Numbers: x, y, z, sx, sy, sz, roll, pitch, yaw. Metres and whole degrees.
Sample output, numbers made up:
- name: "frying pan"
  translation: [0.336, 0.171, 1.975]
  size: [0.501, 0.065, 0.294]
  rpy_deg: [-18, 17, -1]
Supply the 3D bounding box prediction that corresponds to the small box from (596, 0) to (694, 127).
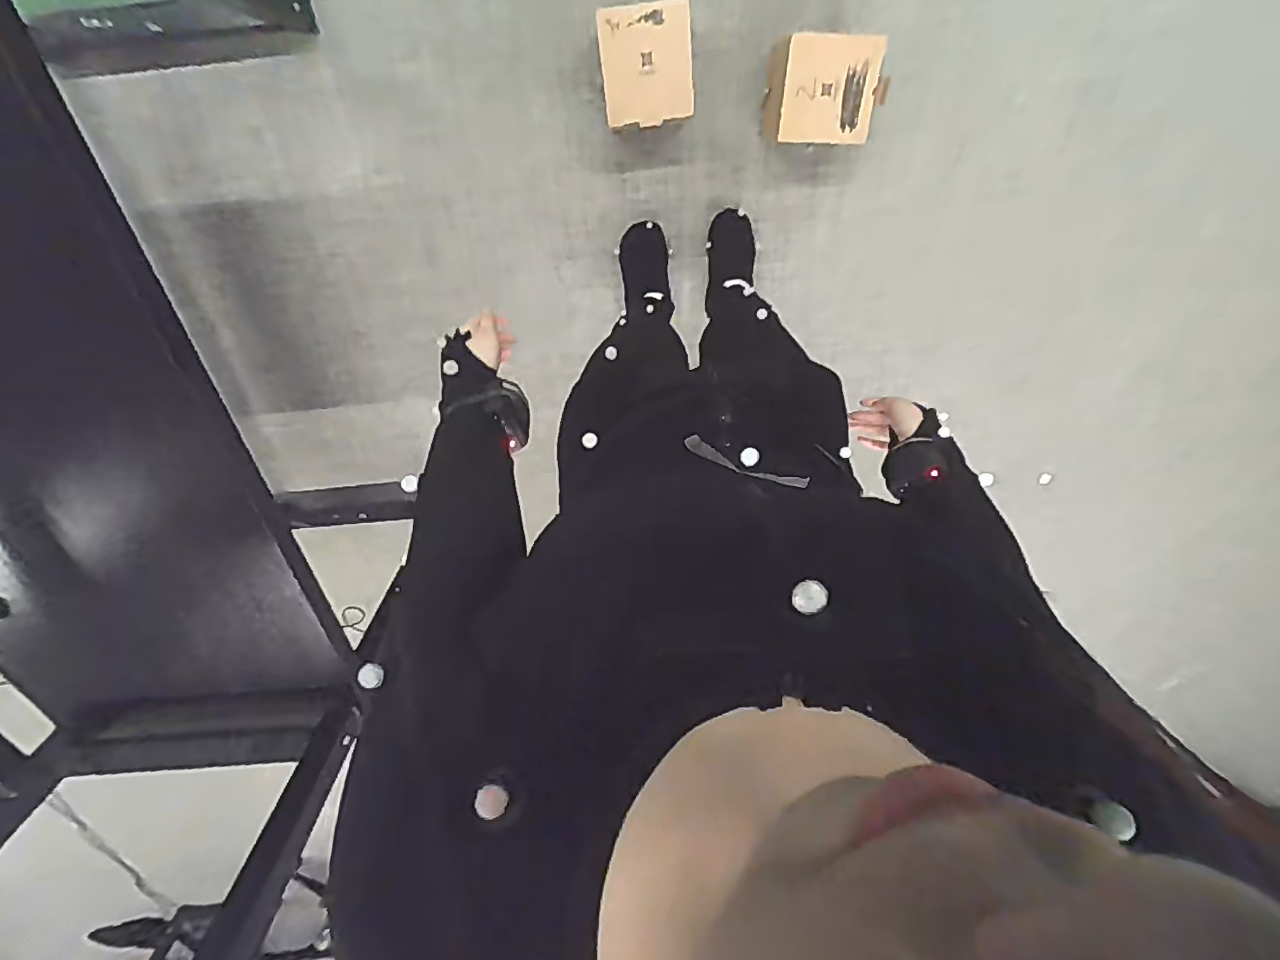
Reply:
- name: "small box"
  translation: [0.013, -0.785, 1.029]
  size: [0.168, 0.176, 0.179]
  rpy_deg: [-5, 122, 3]
